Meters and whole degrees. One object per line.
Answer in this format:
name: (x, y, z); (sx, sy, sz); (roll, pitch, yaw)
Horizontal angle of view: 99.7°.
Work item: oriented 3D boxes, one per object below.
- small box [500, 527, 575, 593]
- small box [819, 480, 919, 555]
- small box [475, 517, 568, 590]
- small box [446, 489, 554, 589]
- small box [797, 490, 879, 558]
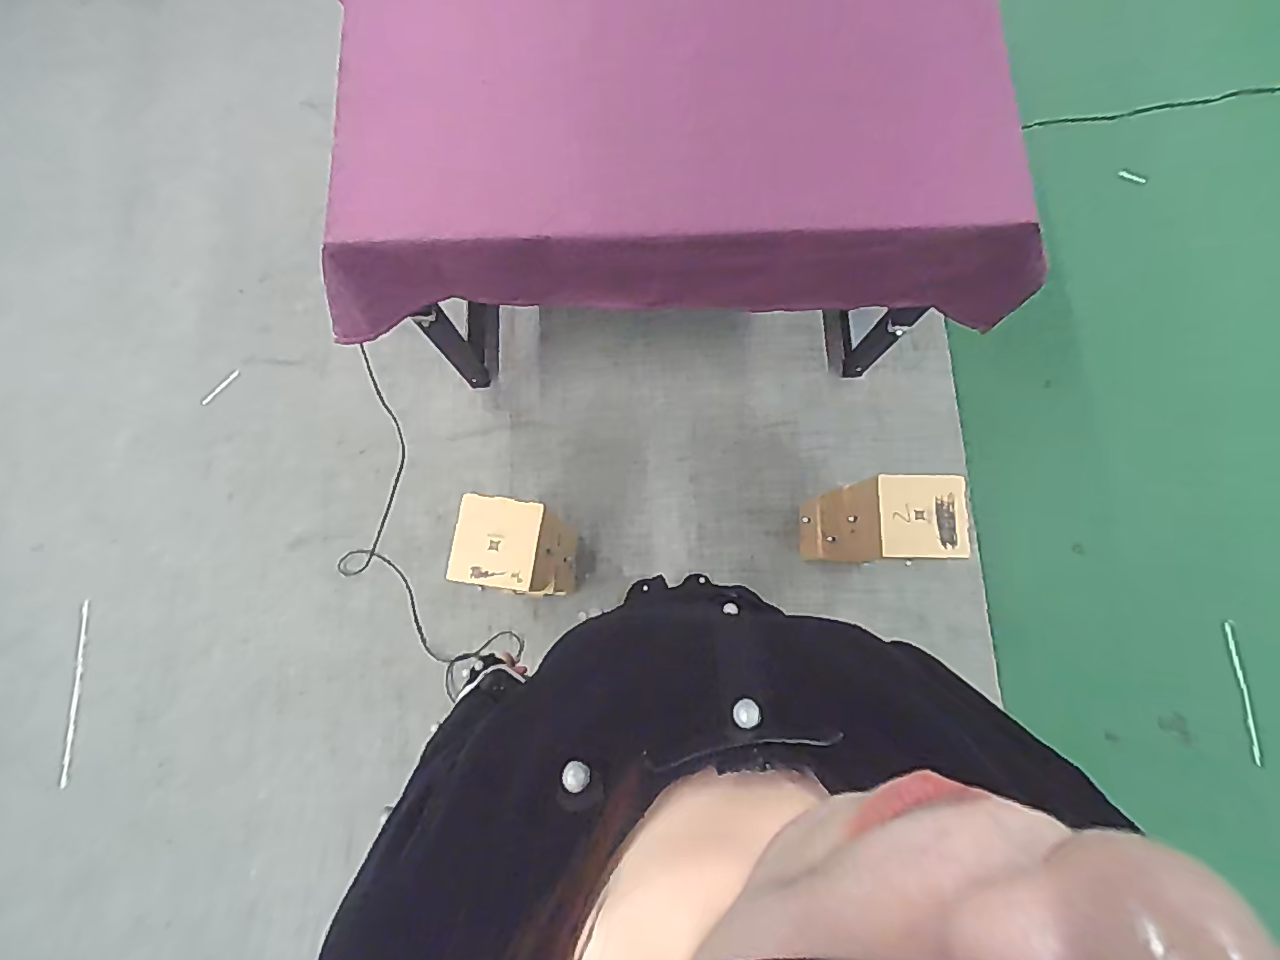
small box: (-0.268, 0.211, 1.452); (0.168, 0.176, 0.179); (1, 79, 0)
small box: (0.543, 0.095, 1.311); (0.179, 0.176, 0.168); (0, 80, -1)
small box: (-0.275, 0.173, 1.292); (0.179, 0.176, 0.168); (5, 79, 0)
small box: (-0.283, 0.130, 1.132); (0.168, 0.176, 0.179); (8, 79, 2)
small box: (0.533, 0.124, 1.471); (0.179, 0.176, 0.168); (2, 79, -1)
